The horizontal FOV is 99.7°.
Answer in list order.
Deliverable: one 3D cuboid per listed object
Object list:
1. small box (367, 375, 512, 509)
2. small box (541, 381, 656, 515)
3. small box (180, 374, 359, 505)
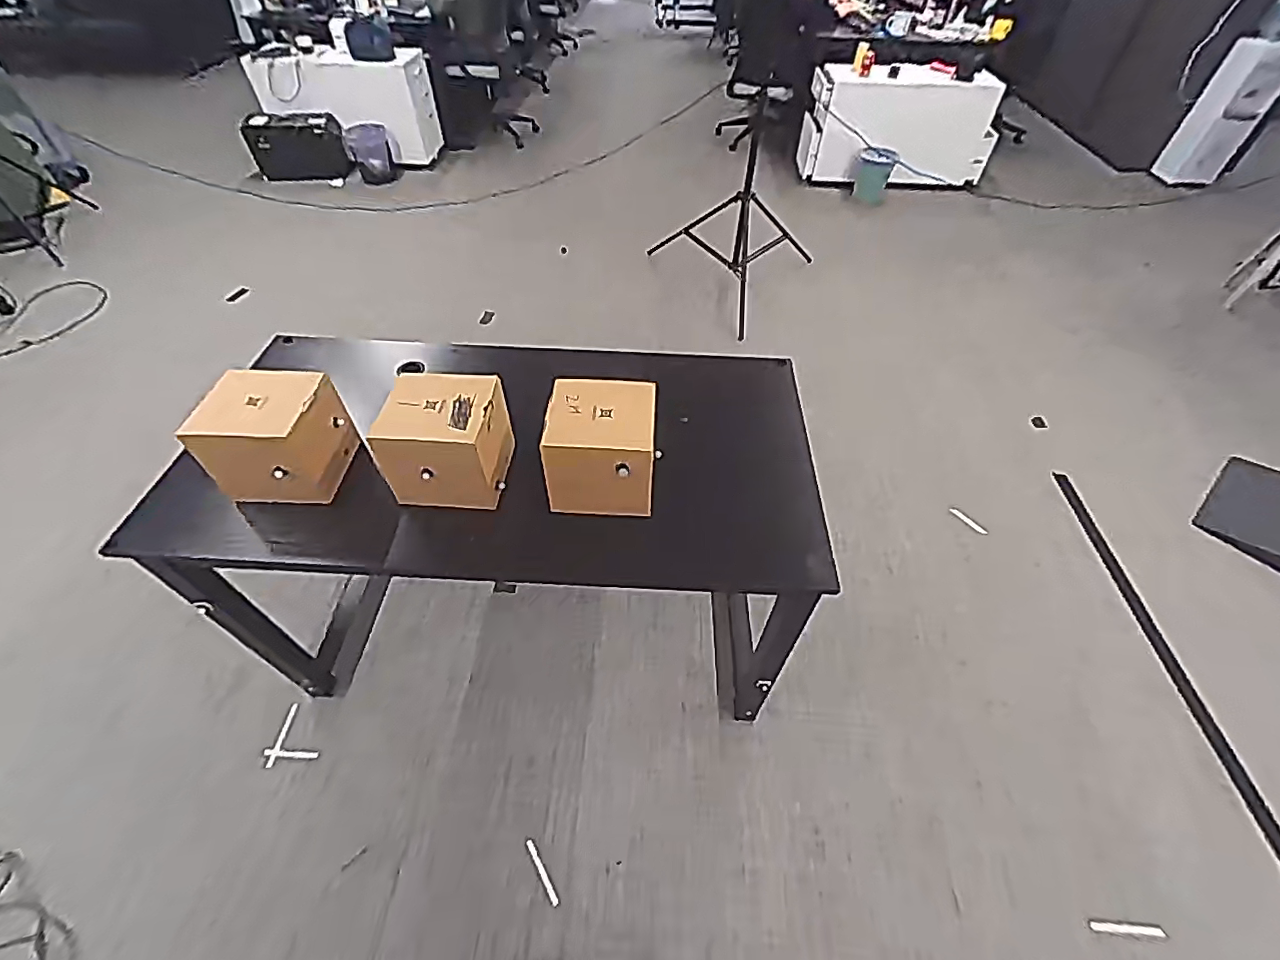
[{"bbox_3d":[-0.335,-0.063,0.950,0.179,0.176,0.168,3,49,2],"label":"small box"},{"bbox_3d":[-0.064,-0.053,0.944,0.179,0.176,0.168,2,49,2],"label":"small box"},{"bbox_3d":[-0.630,-0.068,0.951,0.179,0.176,0.168,0,48,0],"label":"small box"}]
